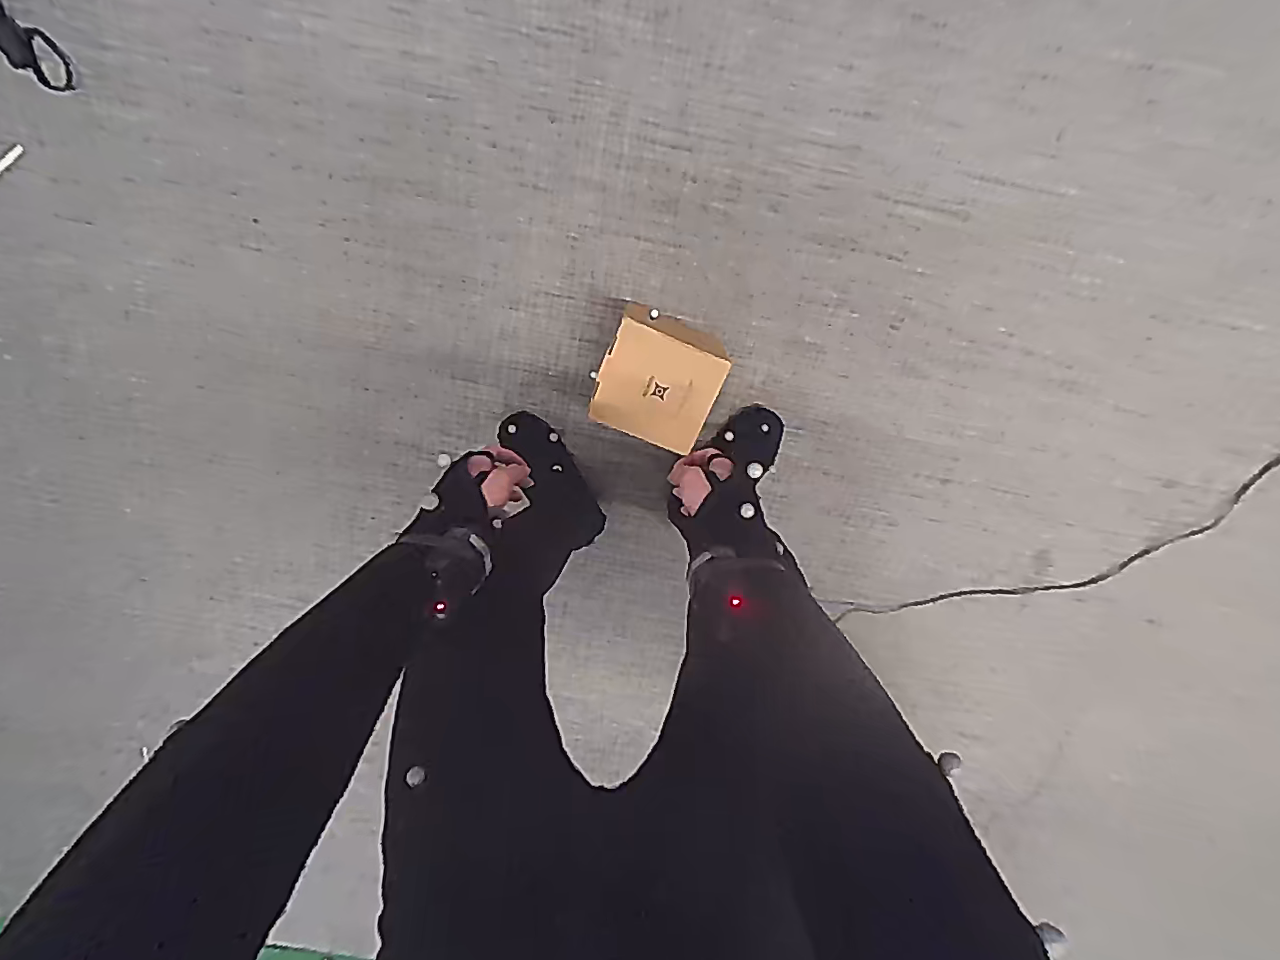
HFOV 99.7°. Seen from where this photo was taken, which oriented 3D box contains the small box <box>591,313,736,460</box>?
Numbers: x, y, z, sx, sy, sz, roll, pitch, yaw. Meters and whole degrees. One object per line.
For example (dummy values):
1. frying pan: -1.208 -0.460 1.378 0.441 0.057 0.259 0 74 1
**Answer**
1. small box: 0.035 -0.162 0.893 0.179 0.176 0.168 21 116 -9
